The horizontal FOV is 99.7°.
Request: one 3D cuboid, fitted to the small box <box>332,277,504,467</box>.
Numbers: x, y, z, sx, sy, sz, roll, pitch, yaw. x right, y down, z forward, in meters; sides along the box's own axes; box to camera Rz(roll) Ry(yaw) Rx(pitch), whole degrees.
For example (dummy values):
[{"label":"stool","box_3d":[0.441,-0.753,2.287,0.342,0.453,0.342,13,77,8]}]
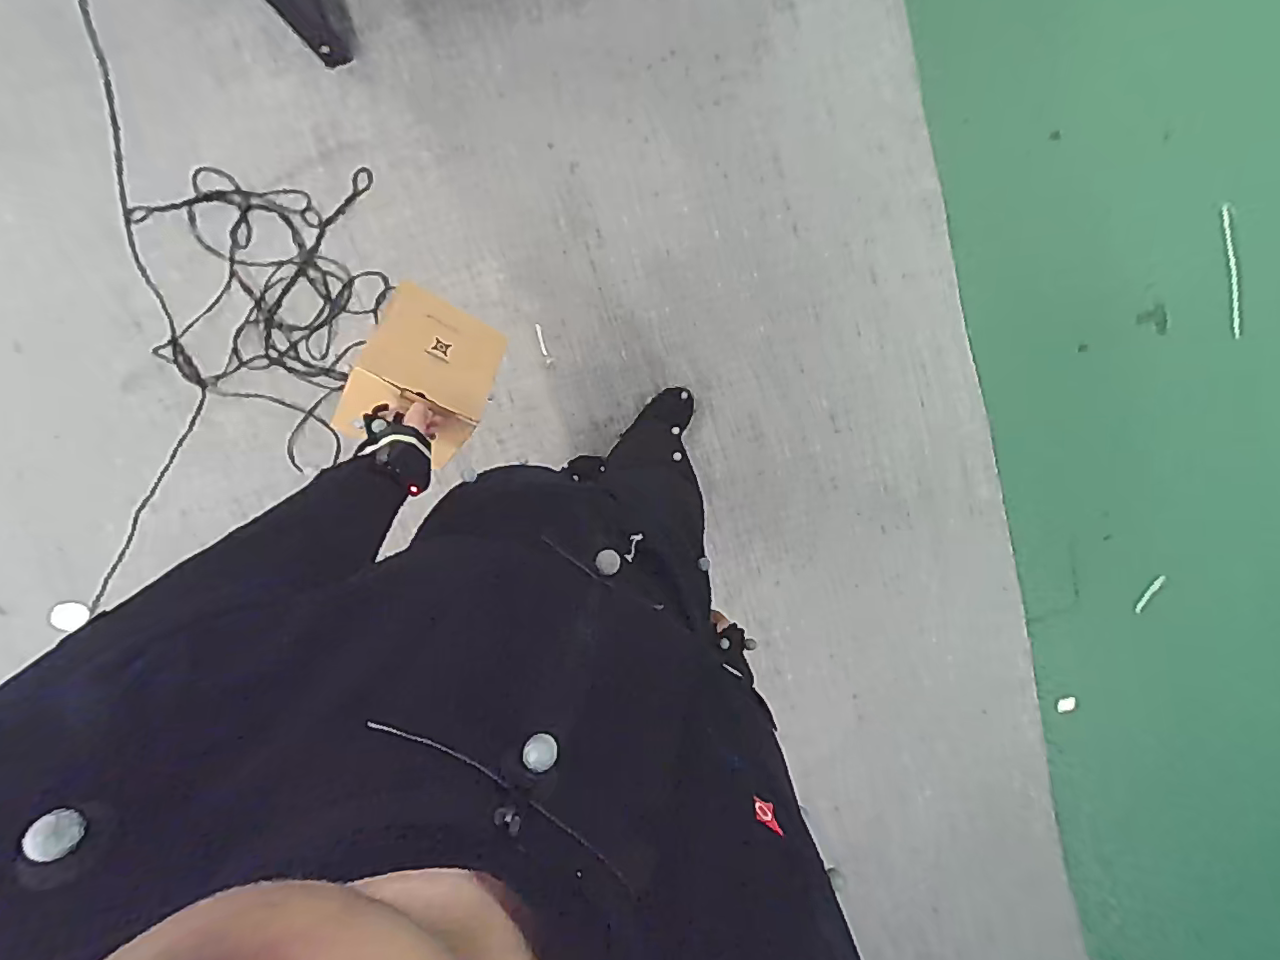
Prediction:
[{"label":"small box","box_3d":[-0.323,-0.144,0.783,0.168,0.179,0.176,25,143,-29]}]
